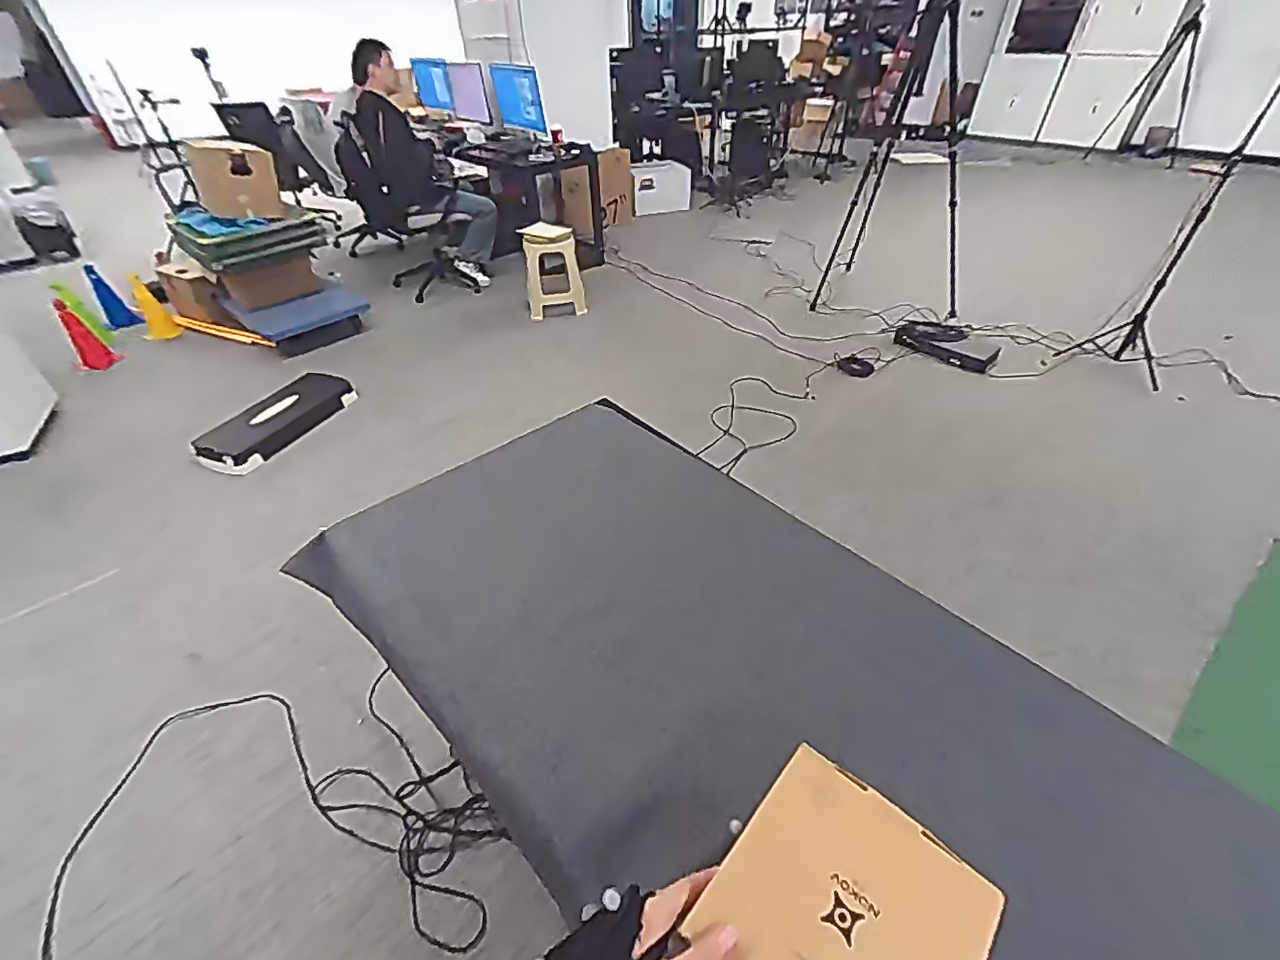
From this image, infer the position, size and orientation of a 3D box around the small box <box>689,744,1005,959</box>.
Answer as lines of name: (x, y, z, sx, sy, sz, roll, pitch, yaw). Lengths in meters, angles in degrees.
small box: (0.149, 0.365, 0.436, 0.168, 0.176, 0.179, 29, 51, 31)
